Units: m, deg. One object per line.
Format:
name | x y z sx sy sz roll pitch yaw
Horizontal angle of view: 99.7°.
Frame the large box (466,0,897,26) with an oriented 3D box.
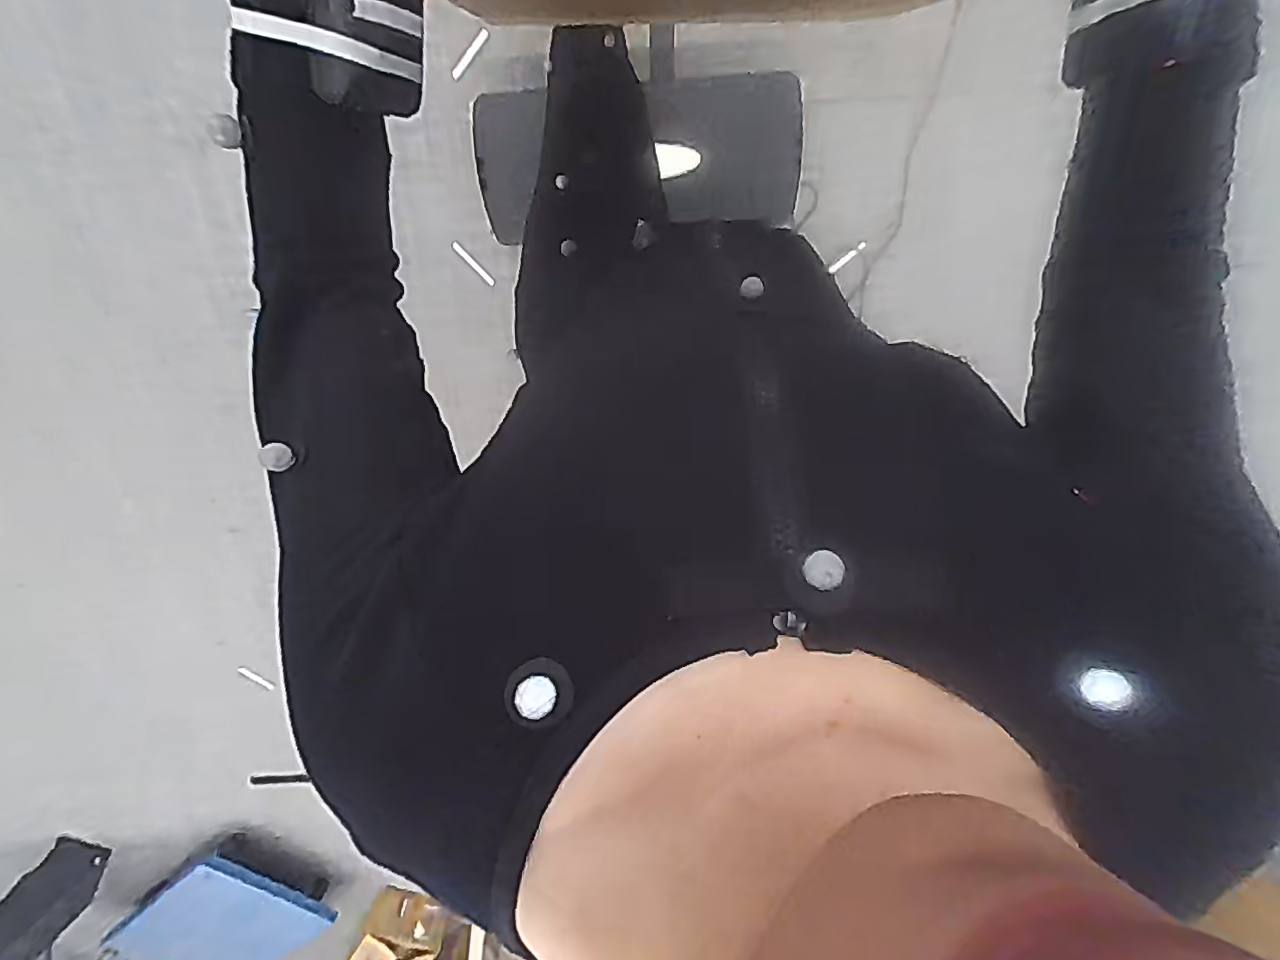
large box | 0.046 -0.509 0.334 0.408 0.320 0.320 -2 125 -1
